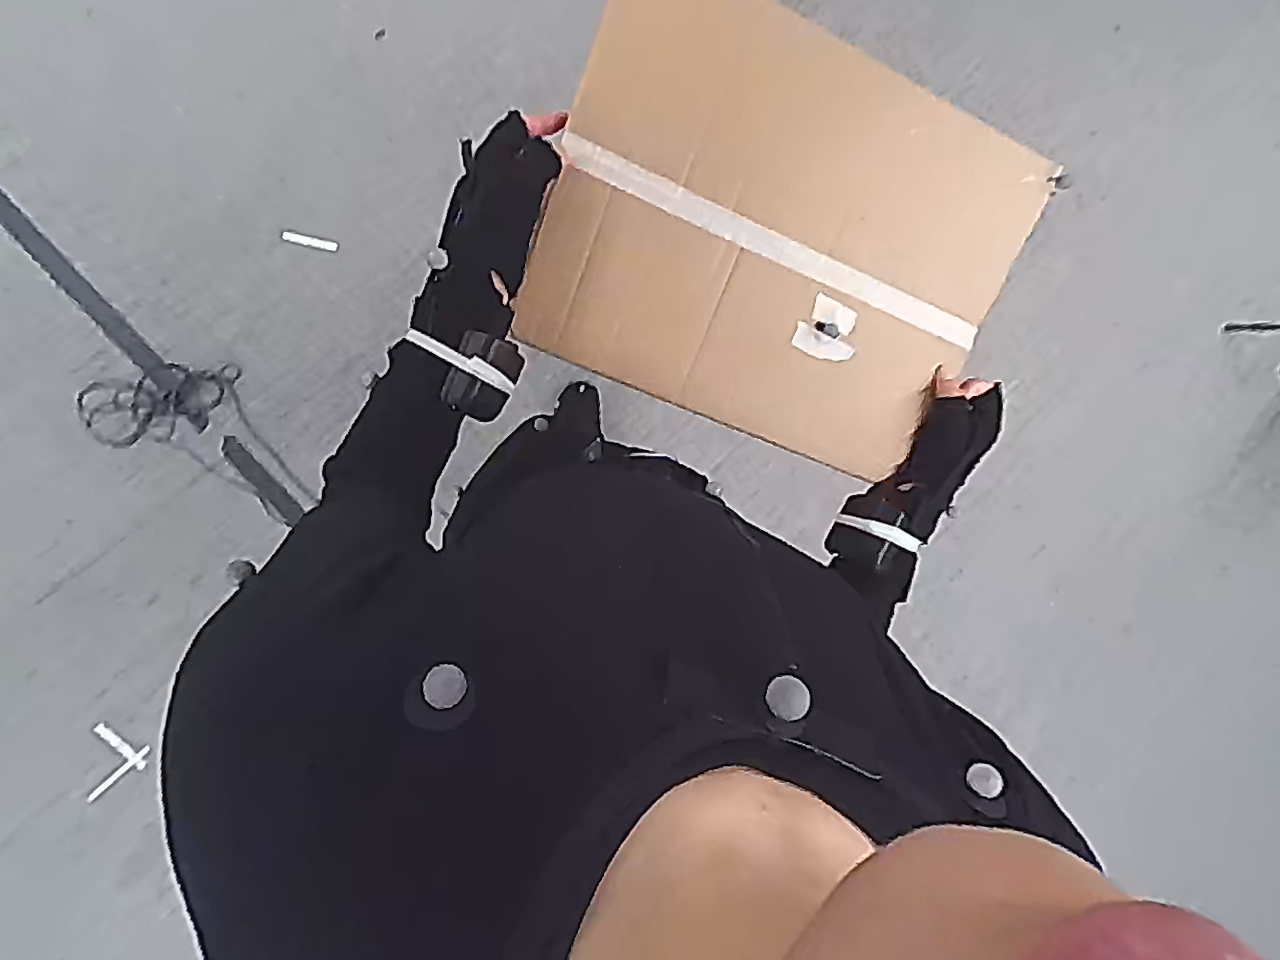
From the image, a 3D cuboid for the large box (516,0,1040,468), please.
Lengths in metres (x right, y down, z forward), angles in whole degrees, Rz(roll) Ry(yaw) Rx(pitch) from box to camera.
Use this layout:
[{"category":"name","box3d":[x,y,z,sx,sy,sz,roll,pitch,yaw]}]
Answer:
[{"category":"large box","box3d":[0.108,-0.253,0.623,0.408,0.320,0.320,20,104,-12]}]
